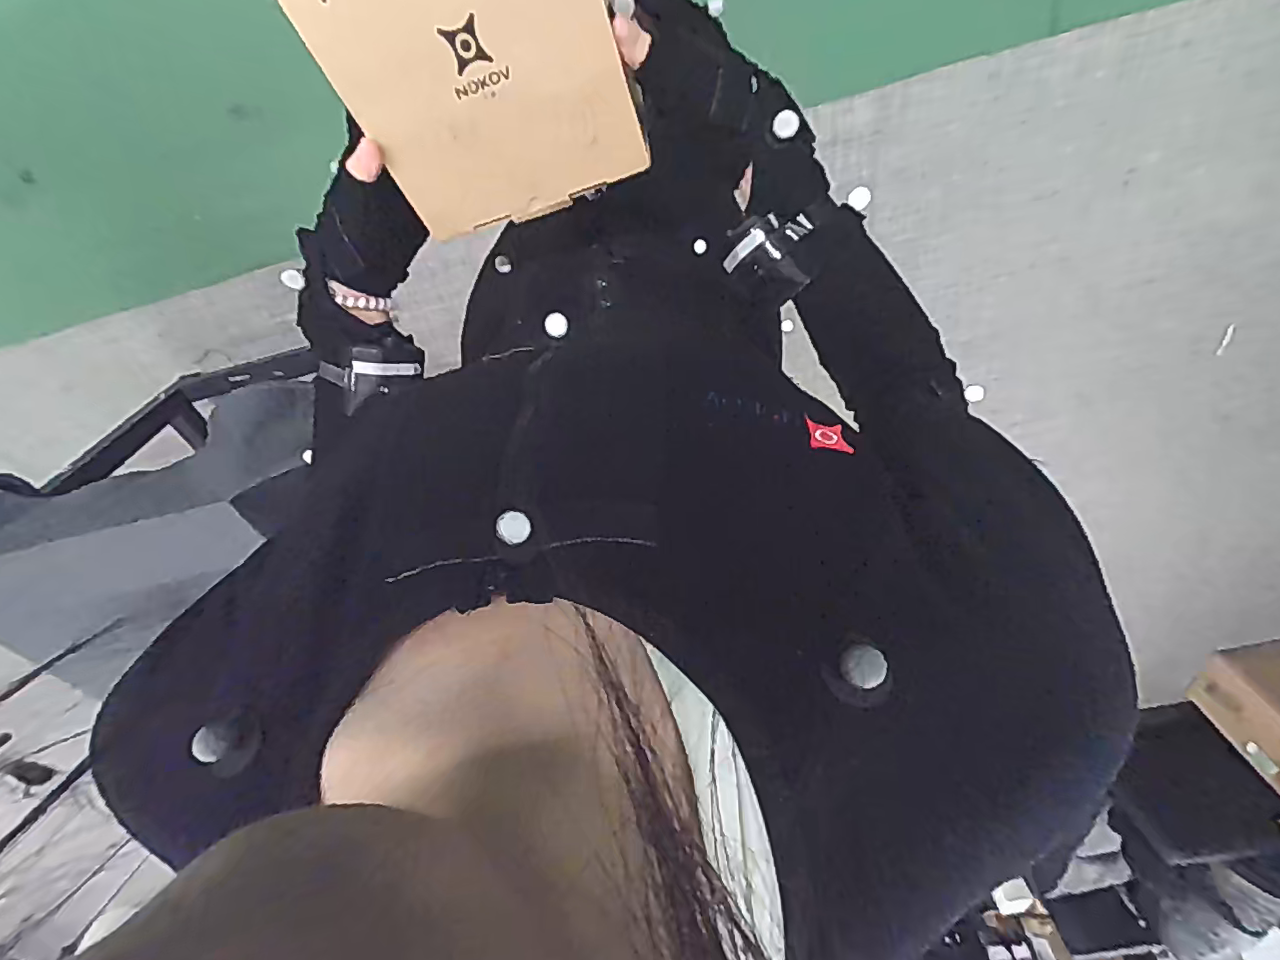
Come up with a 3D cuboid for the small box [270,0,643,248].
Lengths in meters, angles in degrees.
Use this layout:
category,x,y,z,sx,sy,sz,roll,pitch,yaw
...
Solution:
category,x,y,z,sx,sy,sz,roll,pitch,yaw
small box,-0.099,-0.297,0.360,0.168,0.176,0.179,-12,142,13
